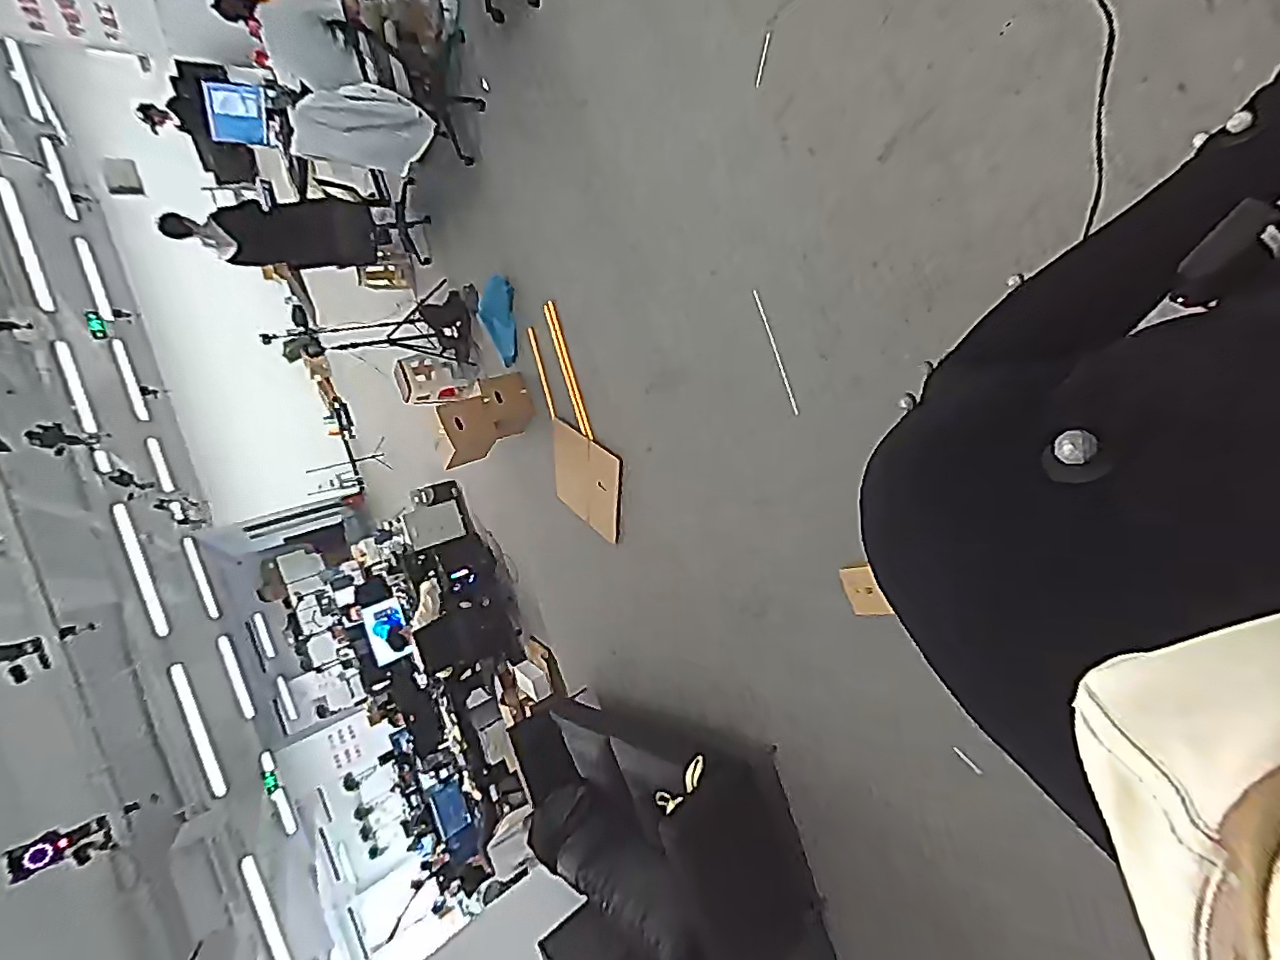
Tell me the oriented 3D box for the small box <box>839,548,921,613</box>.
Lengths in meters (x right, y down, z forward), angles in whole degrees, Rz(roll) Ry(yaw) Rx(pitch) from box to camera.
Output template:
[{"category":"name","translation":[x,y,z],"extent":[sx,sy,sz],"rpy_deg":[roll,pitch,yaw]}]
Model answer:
[{"category":"small box","translation":[0.813,0.336,1.815],"extent":[0.179,0.176,0.168],"rpy_deg":[-23,86,56]}]
